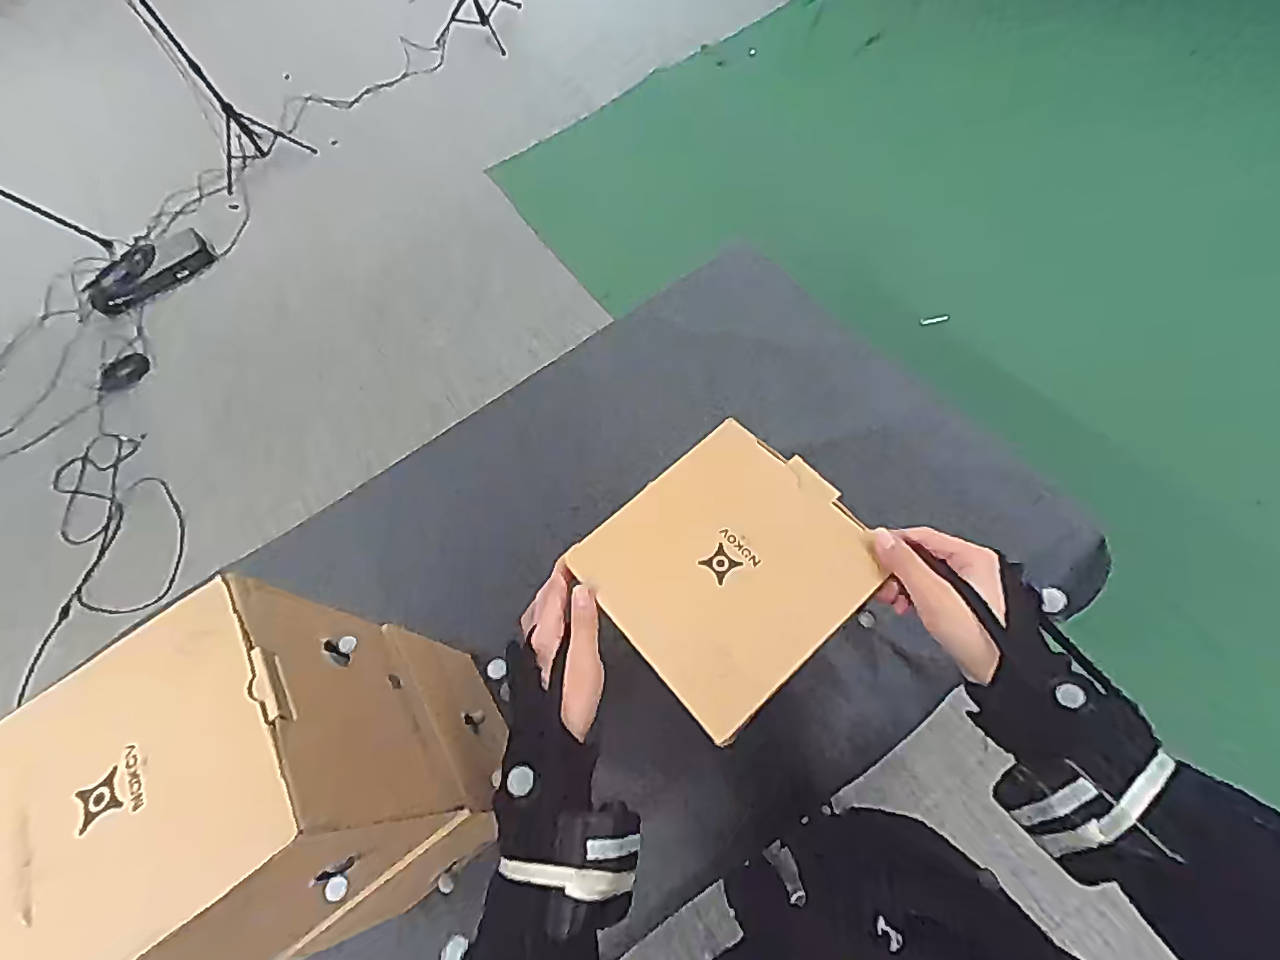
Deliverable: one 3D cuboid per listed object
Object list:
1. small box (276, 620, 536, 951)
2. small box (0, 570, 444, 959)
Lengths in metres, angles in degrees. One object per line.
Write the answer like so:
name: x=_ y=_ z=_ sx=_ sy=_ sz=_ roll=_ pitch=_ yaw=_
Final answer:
small box: x=-0.223 y=0.263 z=0.496 sx=0.168 sy=0.176 sz=0.179 roll=-35 pitch=63 yaw=-8
small box: x=-0.255 y=0.193 z=0.352 sx=0.179 sy=0.176 sz=0.168 roll=-37 pitch=61 yaw=-8
